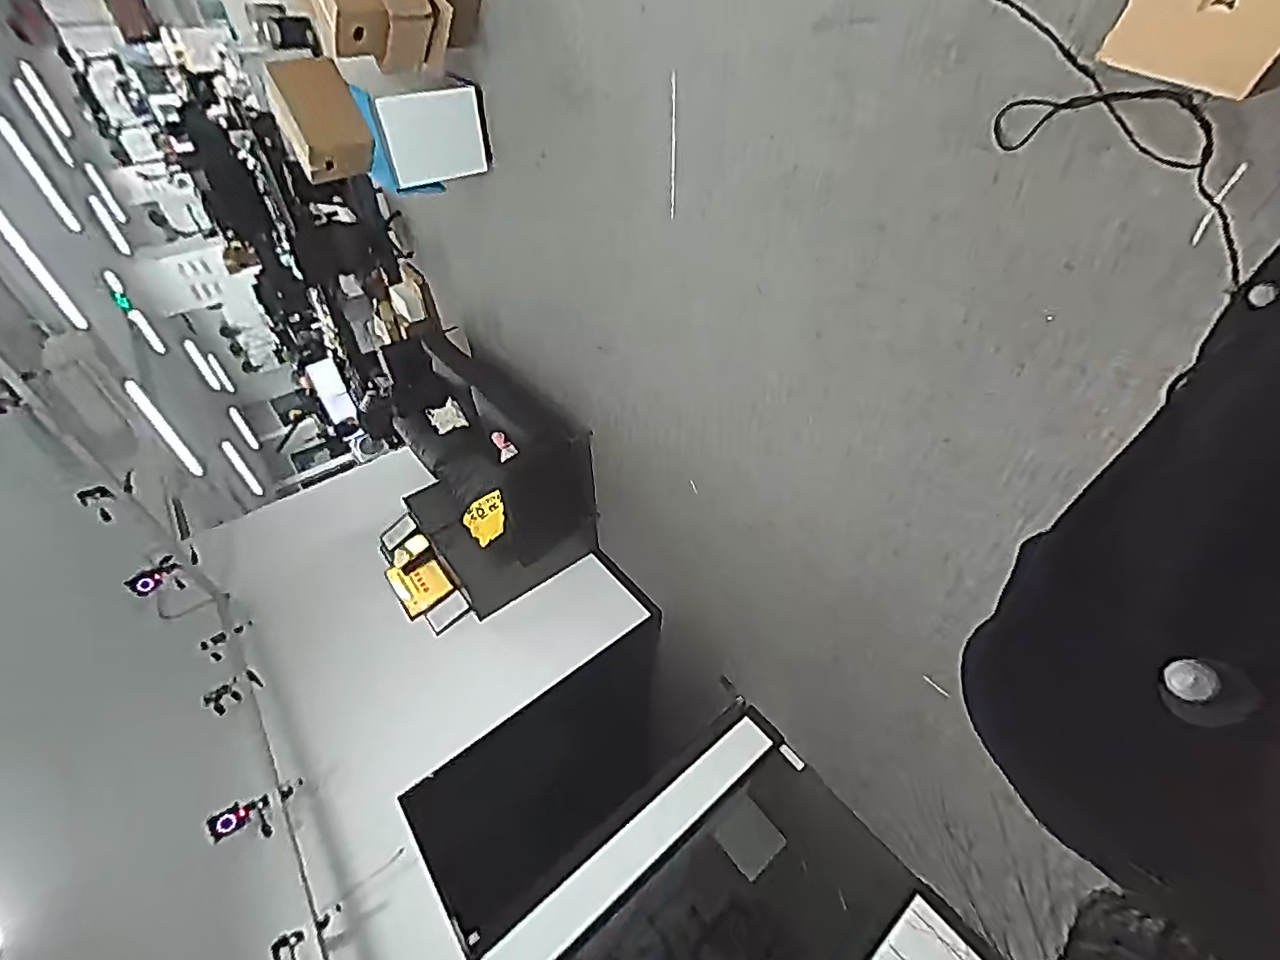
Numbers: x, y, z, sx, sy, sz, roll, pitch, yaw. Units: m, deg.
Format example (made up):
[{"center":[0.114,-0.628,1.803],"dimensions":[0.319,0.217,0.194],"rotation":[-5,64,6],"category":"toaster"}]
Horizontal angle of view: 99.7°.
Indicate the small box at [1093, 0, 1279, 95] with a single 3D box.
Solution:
[{"center":[0.715,-0.589,0.641],"dimensions":[0.179,0.176,0.168],"rotation":[47,149,28],"category":"small box"}]
